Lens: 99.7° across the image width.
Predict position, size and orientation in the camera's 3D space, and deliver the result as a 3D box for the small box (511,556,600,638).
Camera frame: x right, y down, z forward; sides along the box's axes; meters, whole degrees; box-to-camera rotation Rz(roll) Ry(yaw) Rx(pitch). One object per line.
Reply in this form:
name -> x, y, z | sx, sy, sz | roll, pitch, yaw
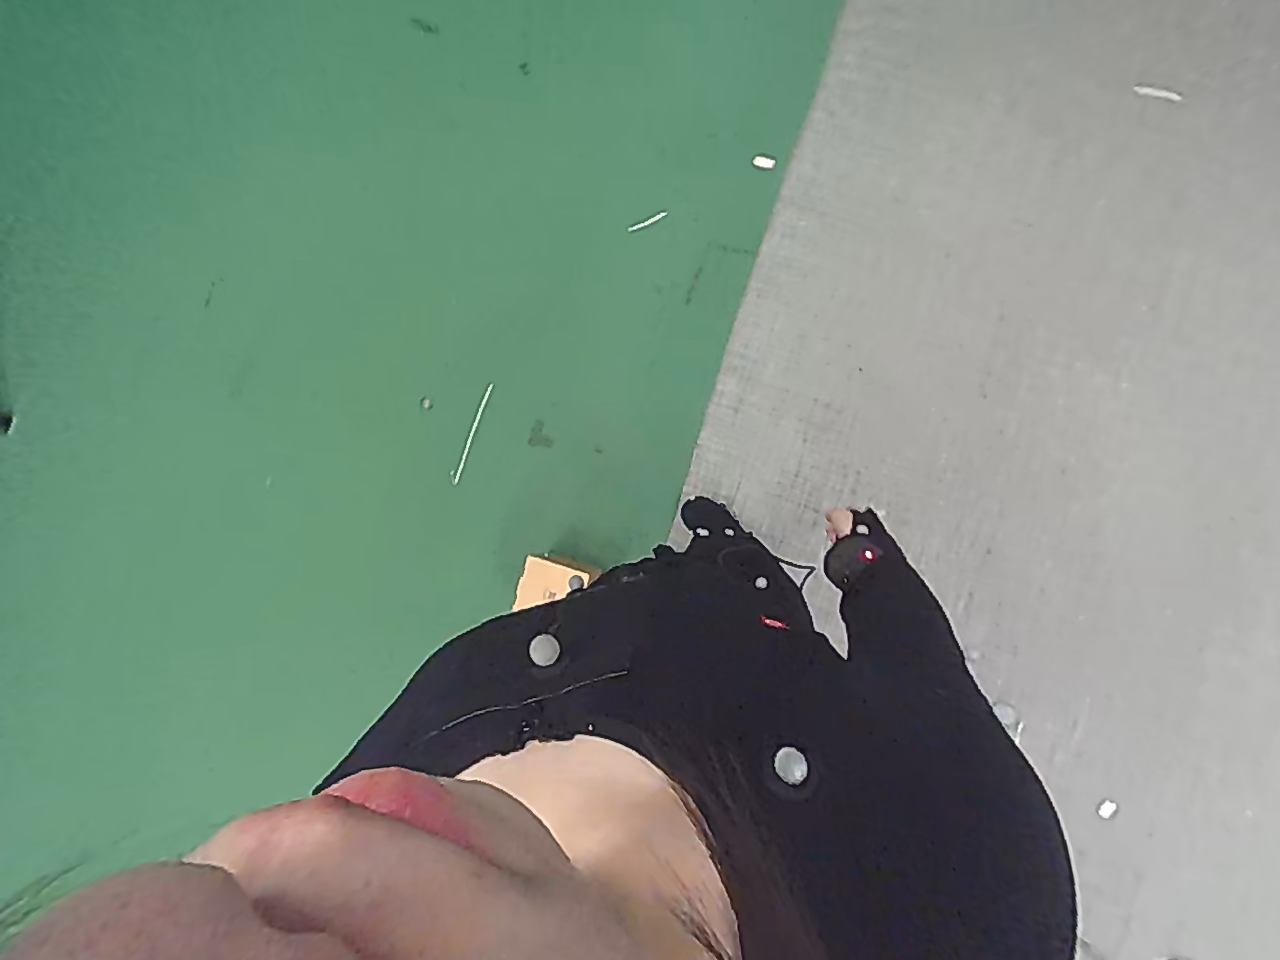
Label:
small box -> -0.220, 0.307, 1.468 | 0.179, 0.176, 0.168 | 15, 88, 9
